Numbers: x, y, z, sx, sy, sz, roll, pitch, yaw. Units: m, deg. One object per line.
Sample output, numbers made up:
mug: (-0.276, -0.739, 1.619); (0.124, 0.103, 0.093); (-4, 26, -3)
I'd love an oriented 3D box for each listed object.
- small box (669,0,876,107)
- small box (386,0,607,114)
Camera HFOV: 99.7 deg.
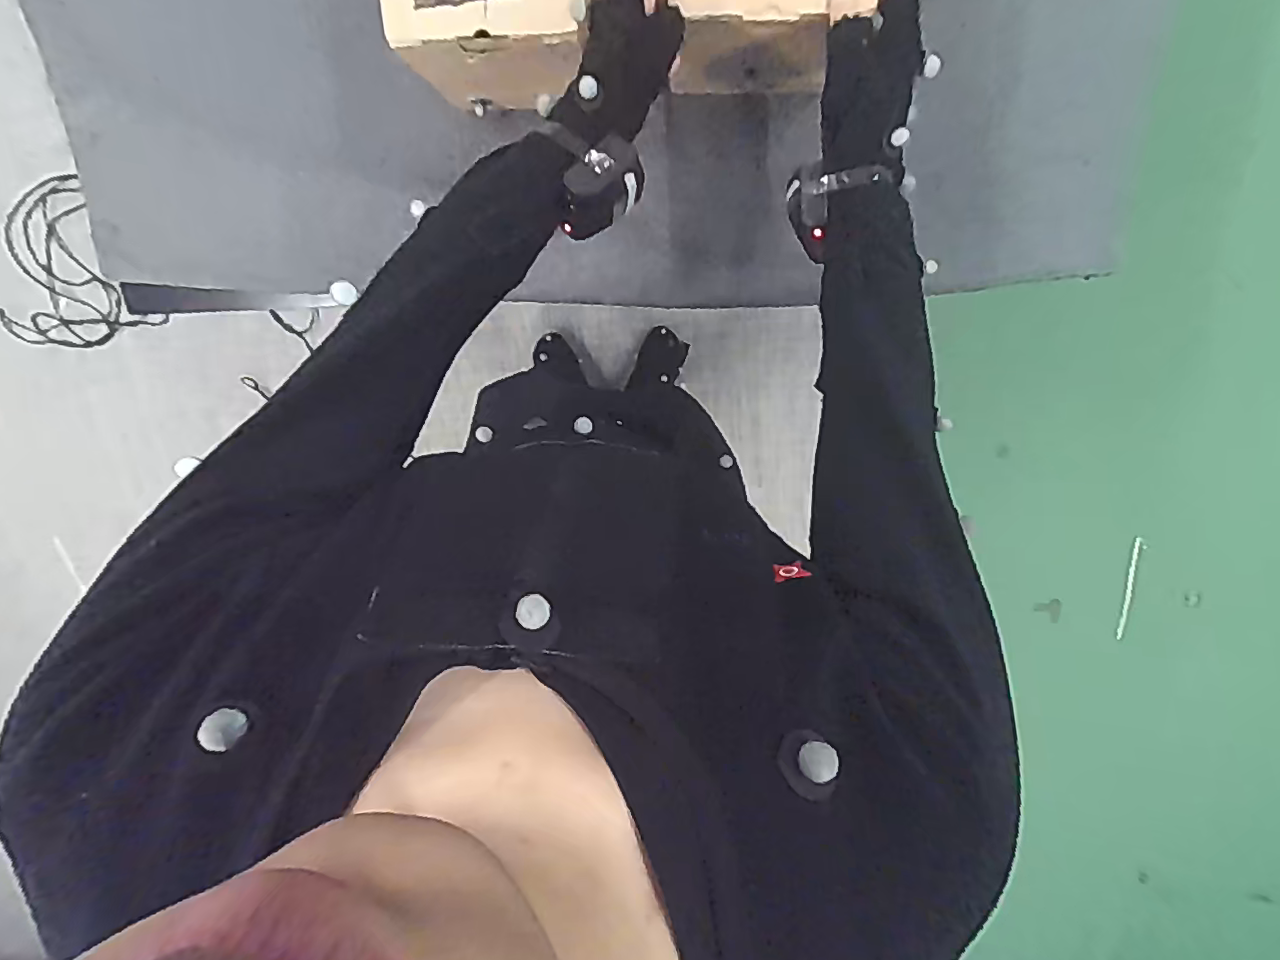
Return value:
small box: (0.113, -0.468, 0.486); (0.168, 0.176, 0.179); (3, 108, 4)
small box: (-0.123, -0.465, 0.505); (0.168, 0.176, 0.179); (1, 107, 4)
